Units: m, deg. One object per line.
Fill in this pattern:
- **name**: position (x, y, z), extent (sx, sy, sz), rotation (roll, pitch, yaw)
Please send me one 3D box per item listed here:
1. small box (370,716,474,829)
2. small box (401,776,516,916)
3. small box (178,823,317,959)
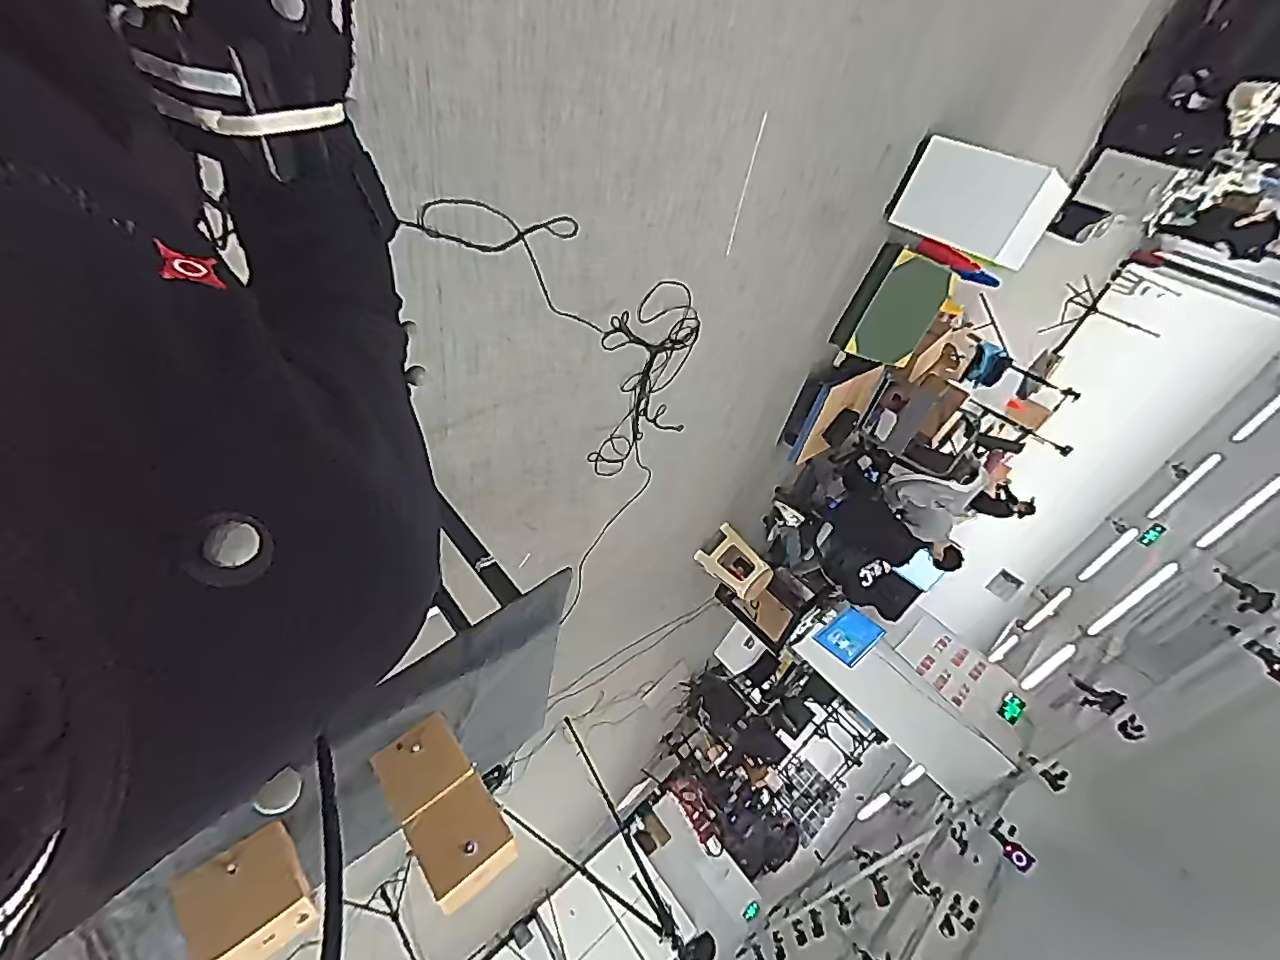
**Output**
- **small box**: position (-0.492, 0.685, 1.251), extent (0.168, 0.176, 0.179), rotation (-31, 146, -29)
- **small box**: position (-0.391, 0.791, 1.180), extent (0.179, 0.176, 0.168), rotation (-27, 143, -31)
- **small box**: position (-0.764, 0.824, 1.055), extent (0.179, 0.176, 0.168), rotation (-23, 142, -37)
